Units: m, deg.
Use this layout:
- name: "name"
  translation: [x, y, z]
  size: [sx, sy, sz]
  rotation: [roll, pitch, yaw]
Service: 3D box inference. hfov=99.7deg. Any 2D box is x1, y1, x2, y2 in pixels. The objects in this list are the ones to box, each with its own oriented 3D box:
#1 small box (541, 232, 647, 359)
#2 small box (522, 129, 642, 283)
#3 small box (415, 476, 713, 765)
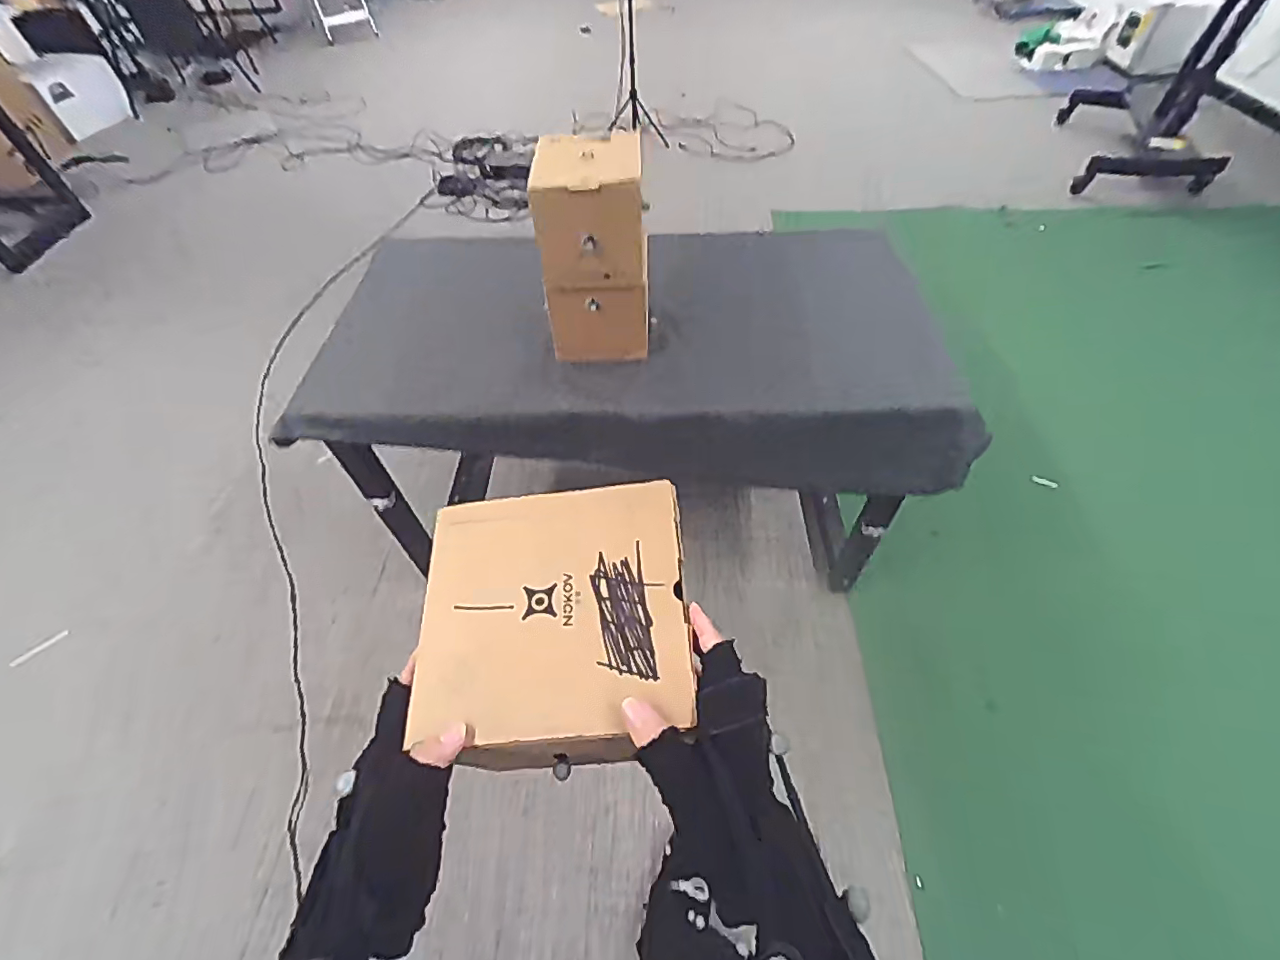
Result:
- name: "small box"
  translation: [-0.077, -0.341, 1.009]
  size: [0.179, 0.176, 0.168]
  rotation: [0, 53, 1]
- name: "small box"
  translation: [-0.082, -0.435, 0.875]
  size: [0.168, 0.176, 0.179]
  rotation: [-1, 54, 2]
- name: "small box"
  translation: [-0.048, 0.116, 0.419]
  size: [0.179, 0.176, 0.168]
  rotation: [-8, 59, 0]
